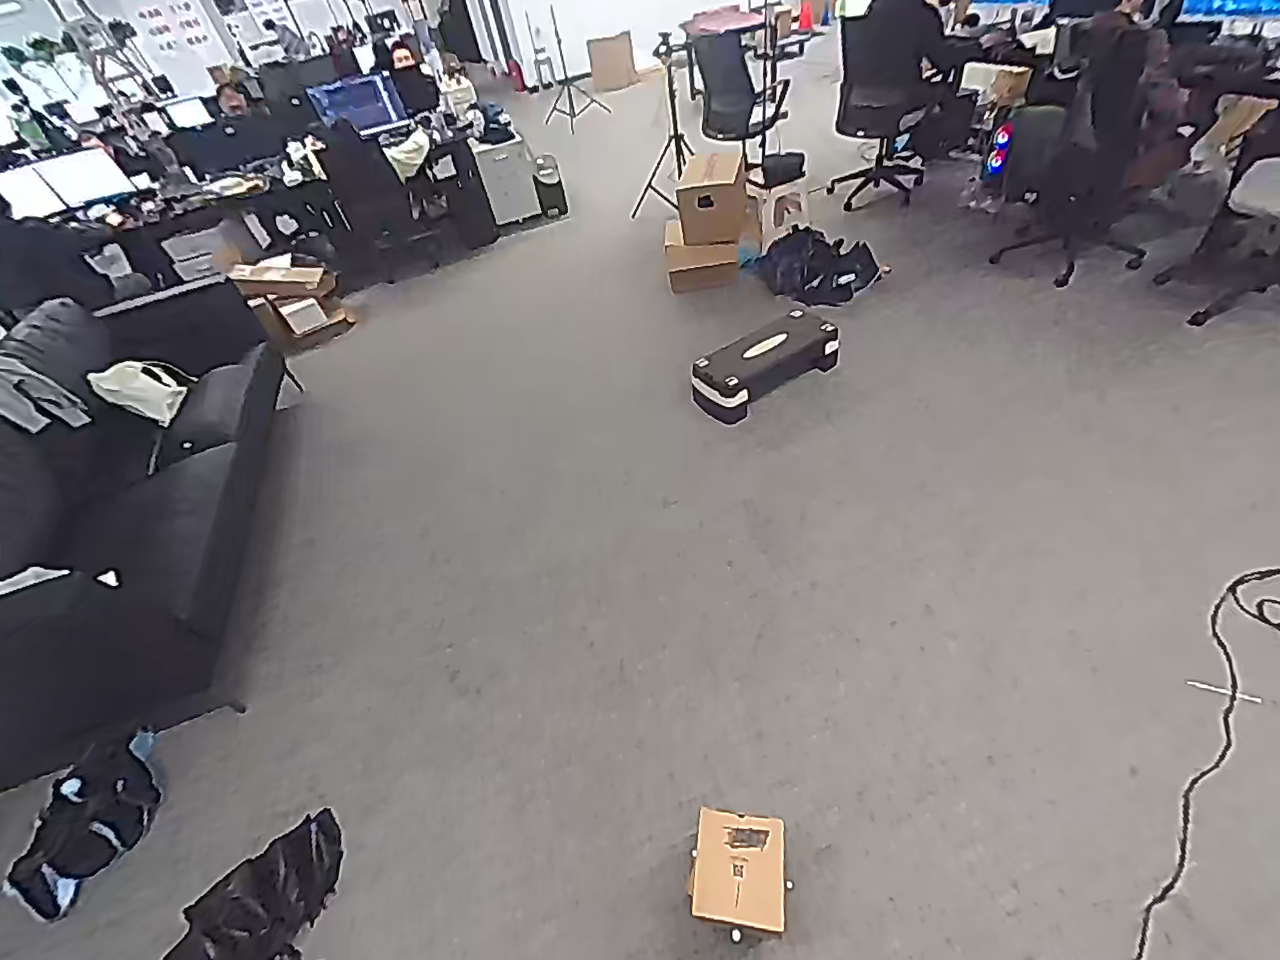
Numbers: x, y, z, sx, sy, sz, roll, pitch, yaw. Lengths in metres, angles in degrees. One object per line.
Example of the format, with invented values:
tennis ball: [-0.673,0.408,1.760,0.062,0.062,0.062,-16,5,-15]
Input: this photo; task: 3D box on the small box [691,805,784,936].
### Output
small box: [0.201,0.780,1.081,0.168,0.176,0.179,0,48,15]
